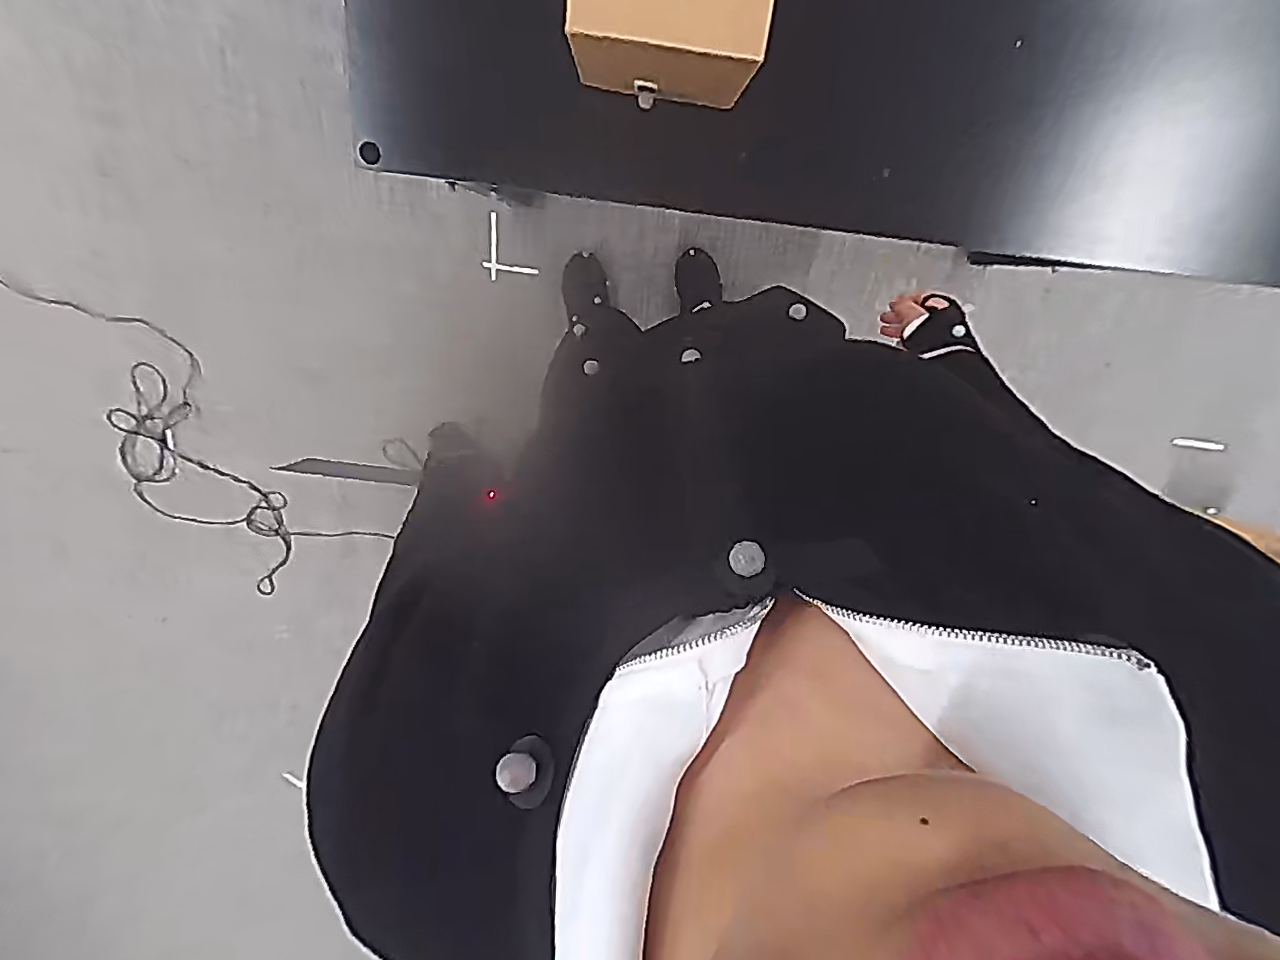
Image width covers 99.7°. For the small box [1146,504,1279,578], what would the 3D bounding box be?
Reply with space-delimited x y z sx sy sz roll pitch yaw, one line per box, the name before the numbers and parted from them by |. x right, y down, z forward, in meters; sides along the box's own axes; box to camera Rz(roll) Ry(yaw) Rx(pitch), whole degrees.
small box | 1.639 0.181 1.560 0.179 0.176 0.168 8 113 -4

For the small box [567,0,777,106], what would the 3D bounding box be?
small box | 0.032 -0.461 0.475 0.168 0.176 0.179 6 113 -3

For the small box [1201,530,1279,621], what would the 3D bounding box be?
small box | 1.648 0.248 1.409 0.168 0.176 0.179 8 113 -4
